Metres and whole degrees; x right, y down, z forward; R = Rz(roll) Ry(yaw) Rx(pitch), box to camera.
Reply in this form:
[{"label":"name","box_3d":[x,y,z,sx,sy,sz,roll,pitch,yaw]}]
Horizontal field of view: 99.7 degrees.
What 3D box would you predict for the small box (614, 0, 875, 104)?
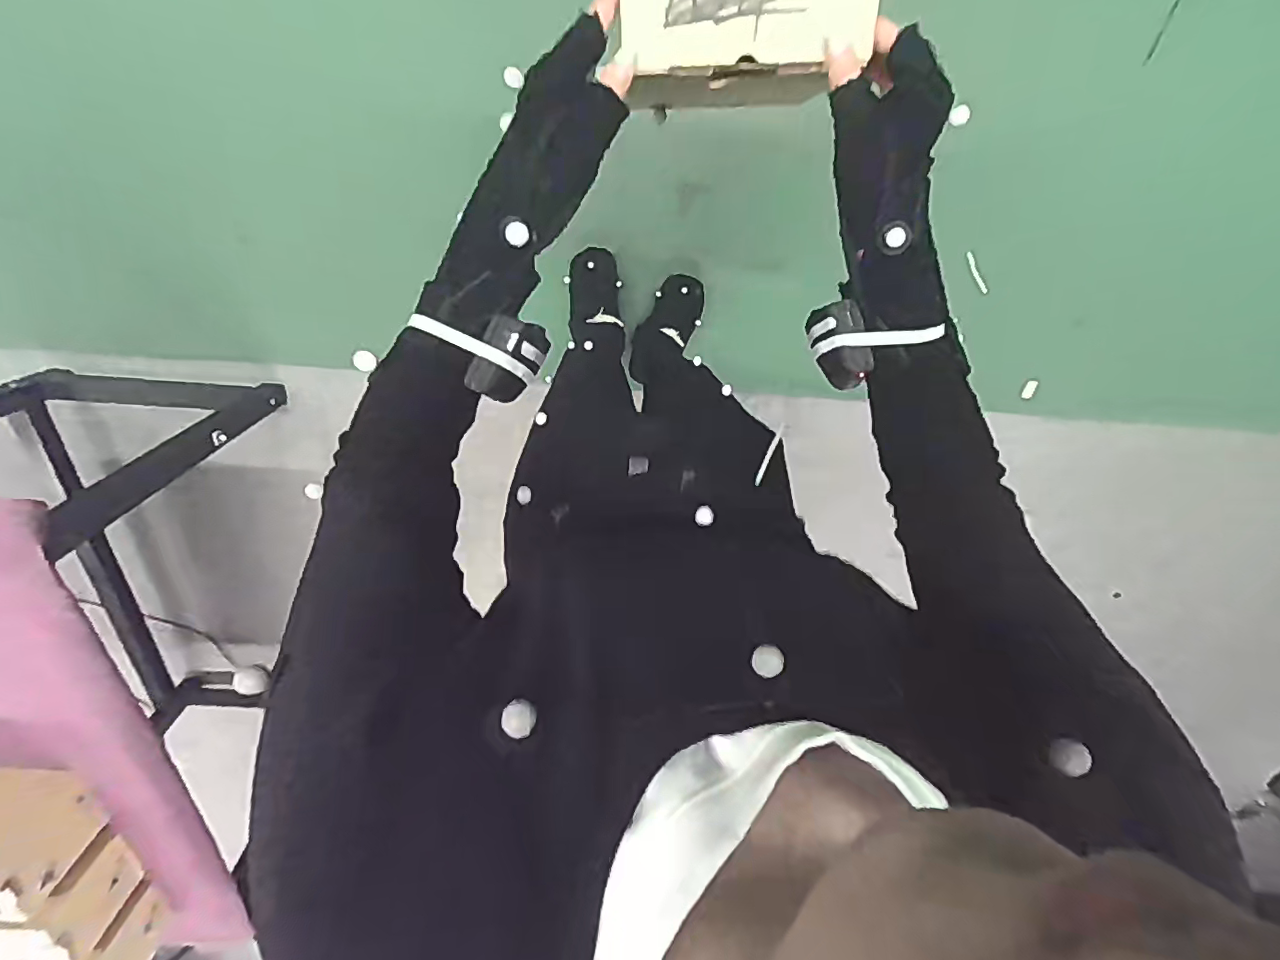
[{"label":"small box","box_3d":[0.065,-0.383,0.385,0.168,0.176,0.179,-2,116,0]}]
